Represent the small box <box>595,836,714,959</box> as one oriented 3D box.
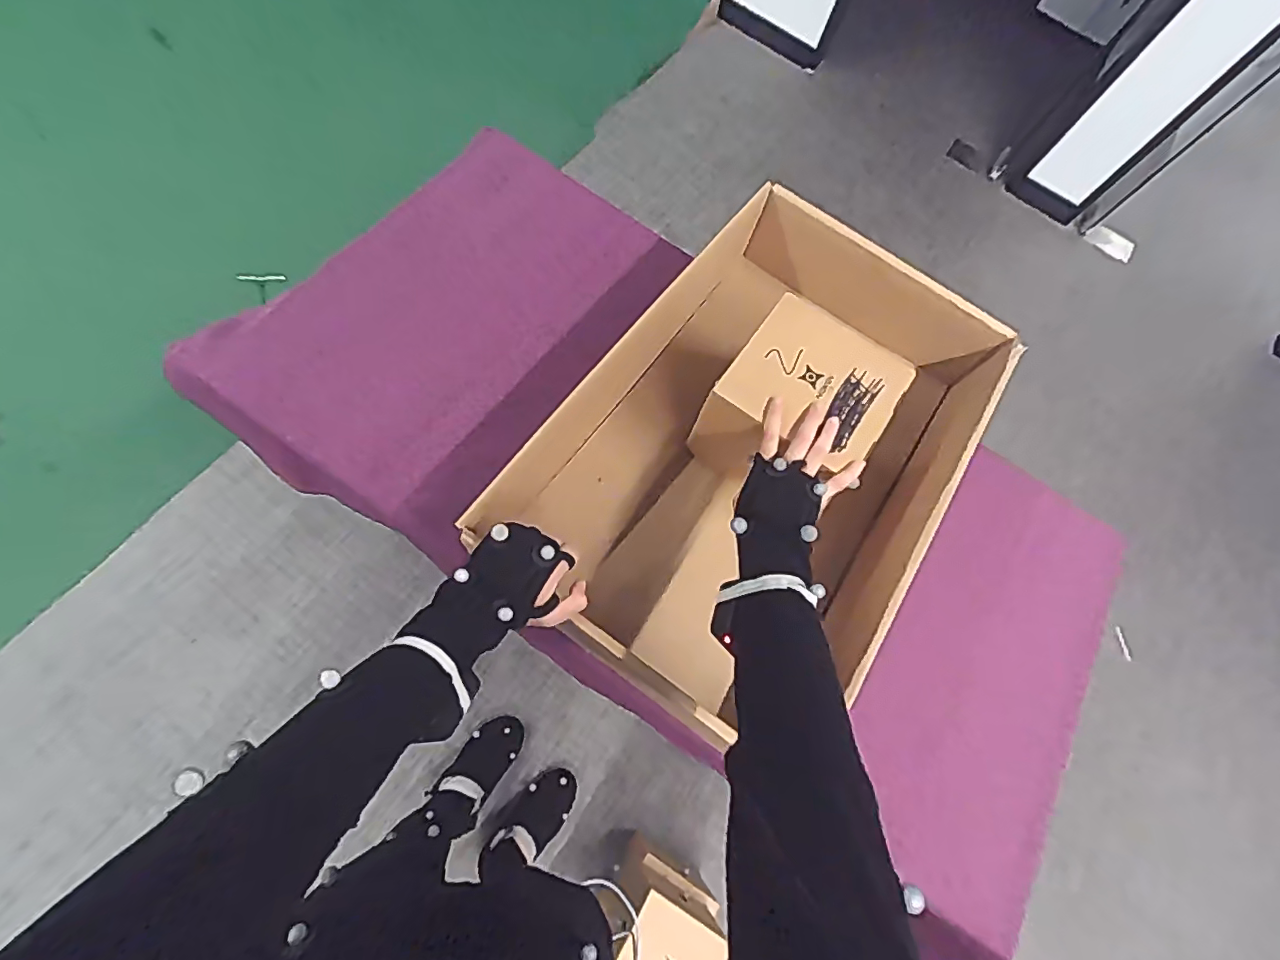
[{"bbox_3d":[0.023,0.883,1.124,0.179,0.176,0.168,34,69,5],"label":"small box"}]
